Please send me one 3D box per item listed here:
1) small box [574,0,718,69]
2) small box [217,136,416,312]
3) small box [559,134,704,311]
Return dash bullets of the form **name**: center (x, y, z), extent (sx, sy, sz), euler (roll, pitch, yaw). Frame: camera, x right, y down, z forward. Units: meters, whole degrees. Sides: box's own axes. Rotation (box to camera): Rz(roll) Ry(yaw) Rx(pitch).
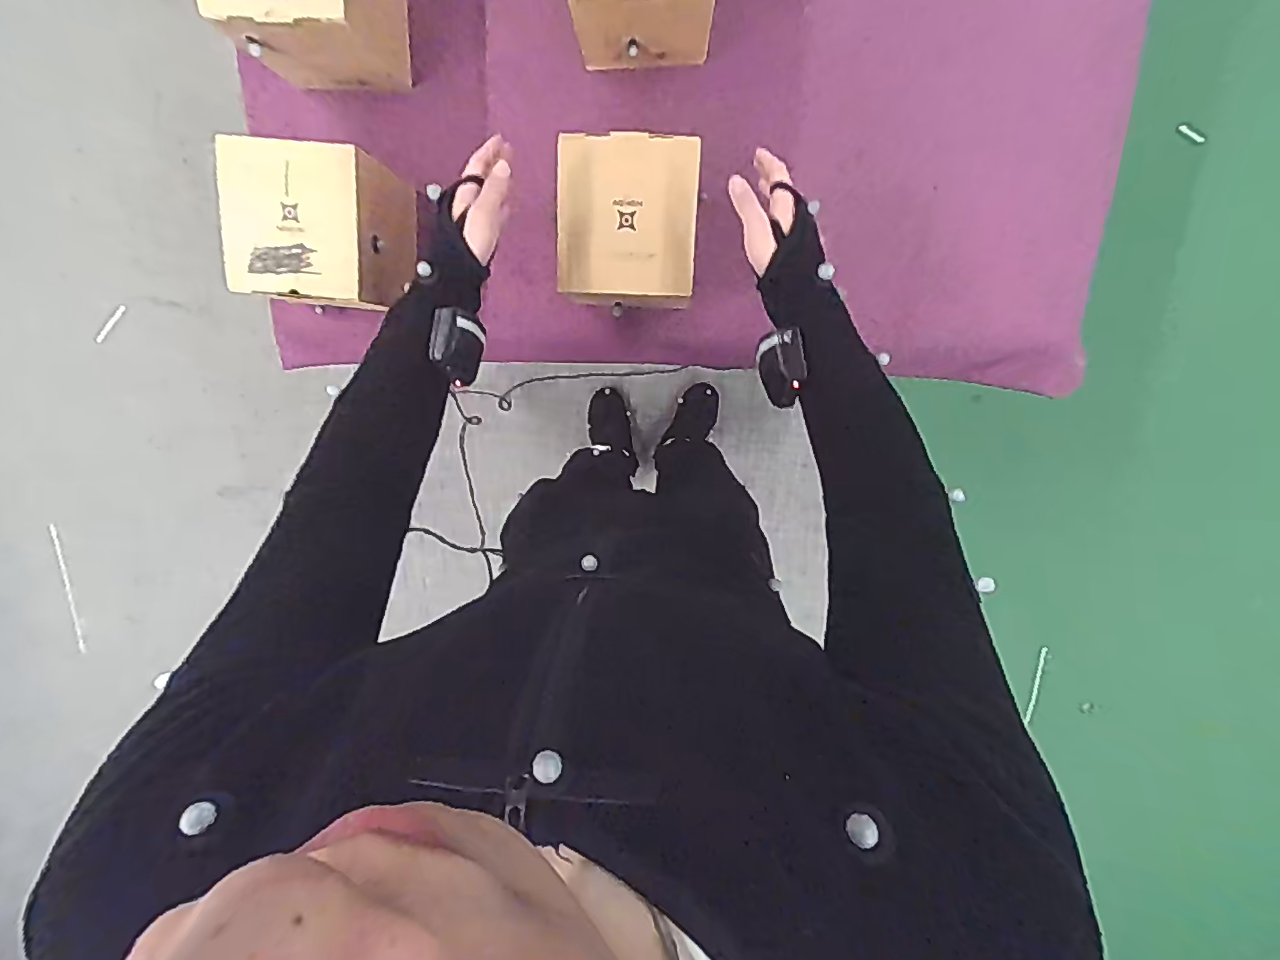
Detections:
- **small box**: center (0.002, -0.626, 0.634), extent (0.168, 0.176, 0.179), euler (-2, 105, 2)
- **small box**: center (-0.411, -0.323, 0.717), extent (0.168, 0.176, 0.179), euler (5, 102, 0)
- **small box**: center (-0.010, -0.323, 0.710), extent (0.168, 0.176, 0.179), euler (3, 104, 2)
